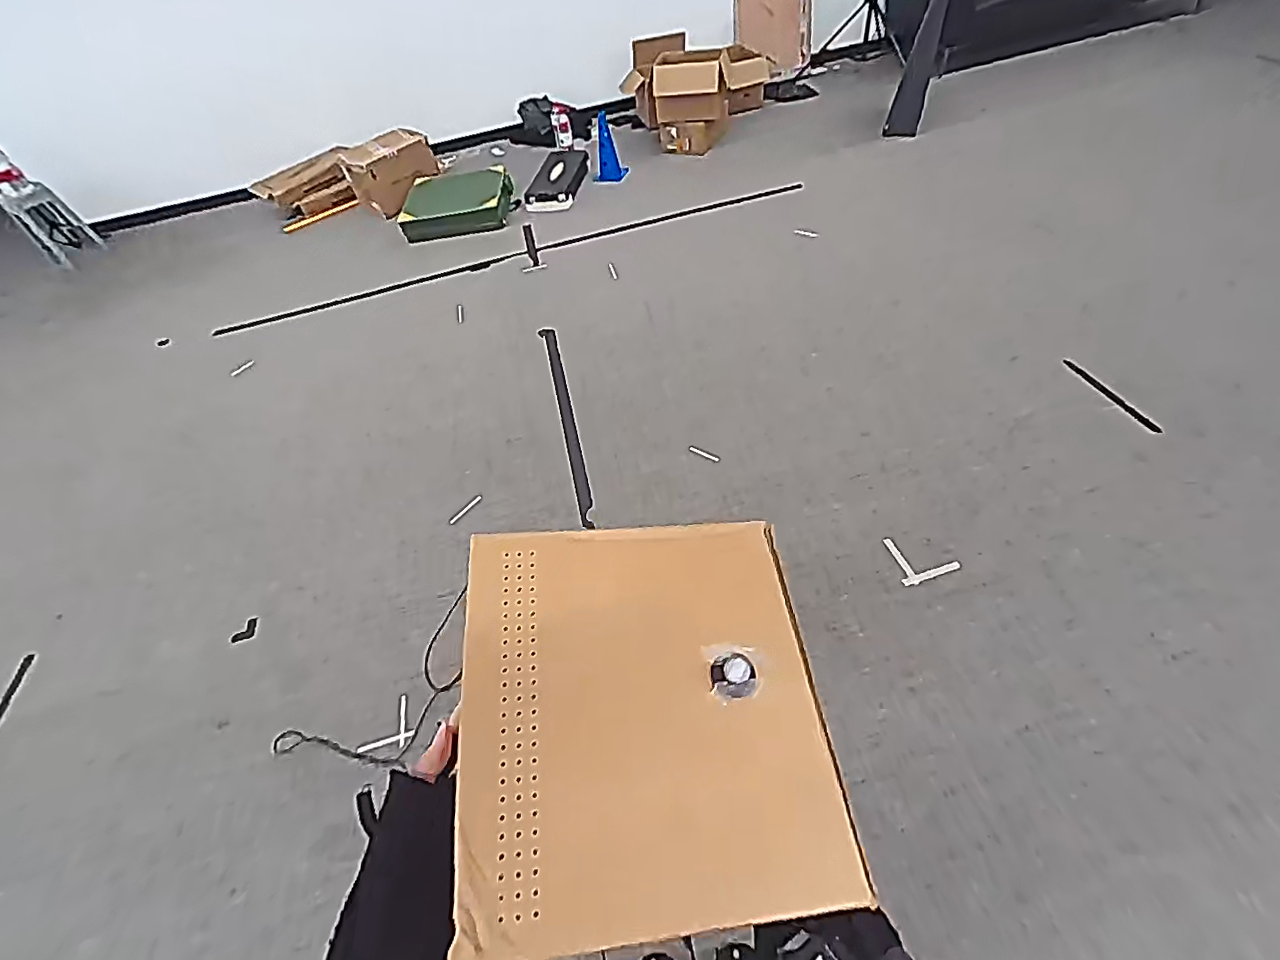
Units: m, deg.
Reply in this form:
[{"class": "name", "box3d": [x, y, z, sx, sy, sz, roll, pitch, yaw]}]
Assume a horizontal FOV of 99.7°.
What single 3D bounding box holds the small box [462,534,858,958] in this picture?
[{"class": "small box", "box3d": [-0.008, 0.149, 0.325, 0.176, 0.168, 0.179, -2, 56, -9]}]
